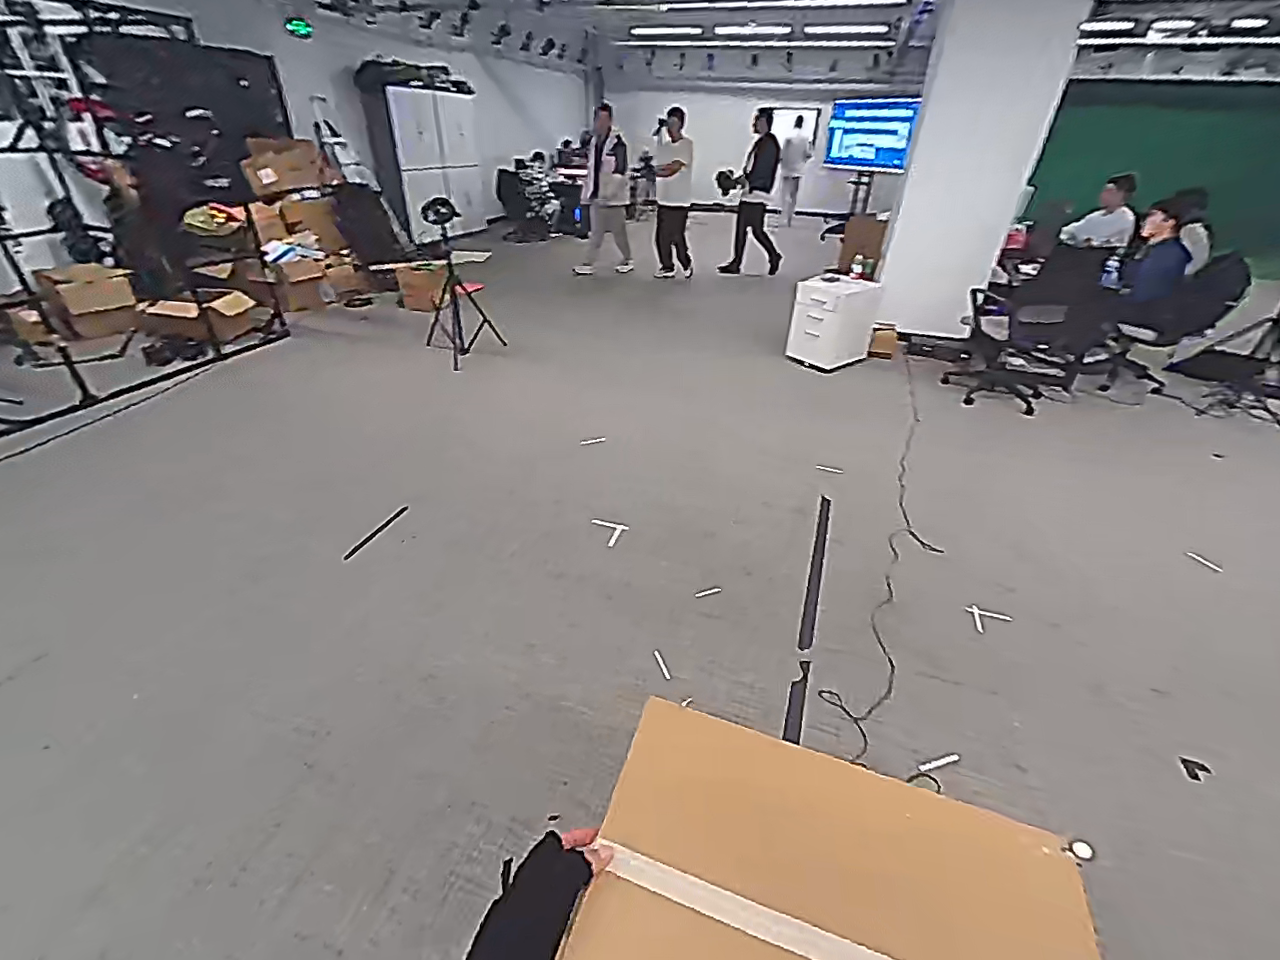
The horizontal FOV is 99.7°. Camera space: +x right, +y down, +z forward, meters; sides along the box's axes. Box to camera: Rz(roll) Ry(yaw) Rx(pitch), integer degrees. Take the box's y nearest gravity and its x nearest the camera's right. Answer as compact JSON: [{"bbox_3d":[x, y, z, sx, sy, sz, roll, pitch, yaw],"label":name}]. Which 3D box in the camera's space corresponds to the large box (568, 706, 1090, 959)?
[{"bbox_3d":[0.145,0.493,0.524,0.408,0.320,0.320,15,40,13],"label":"large box"}]
